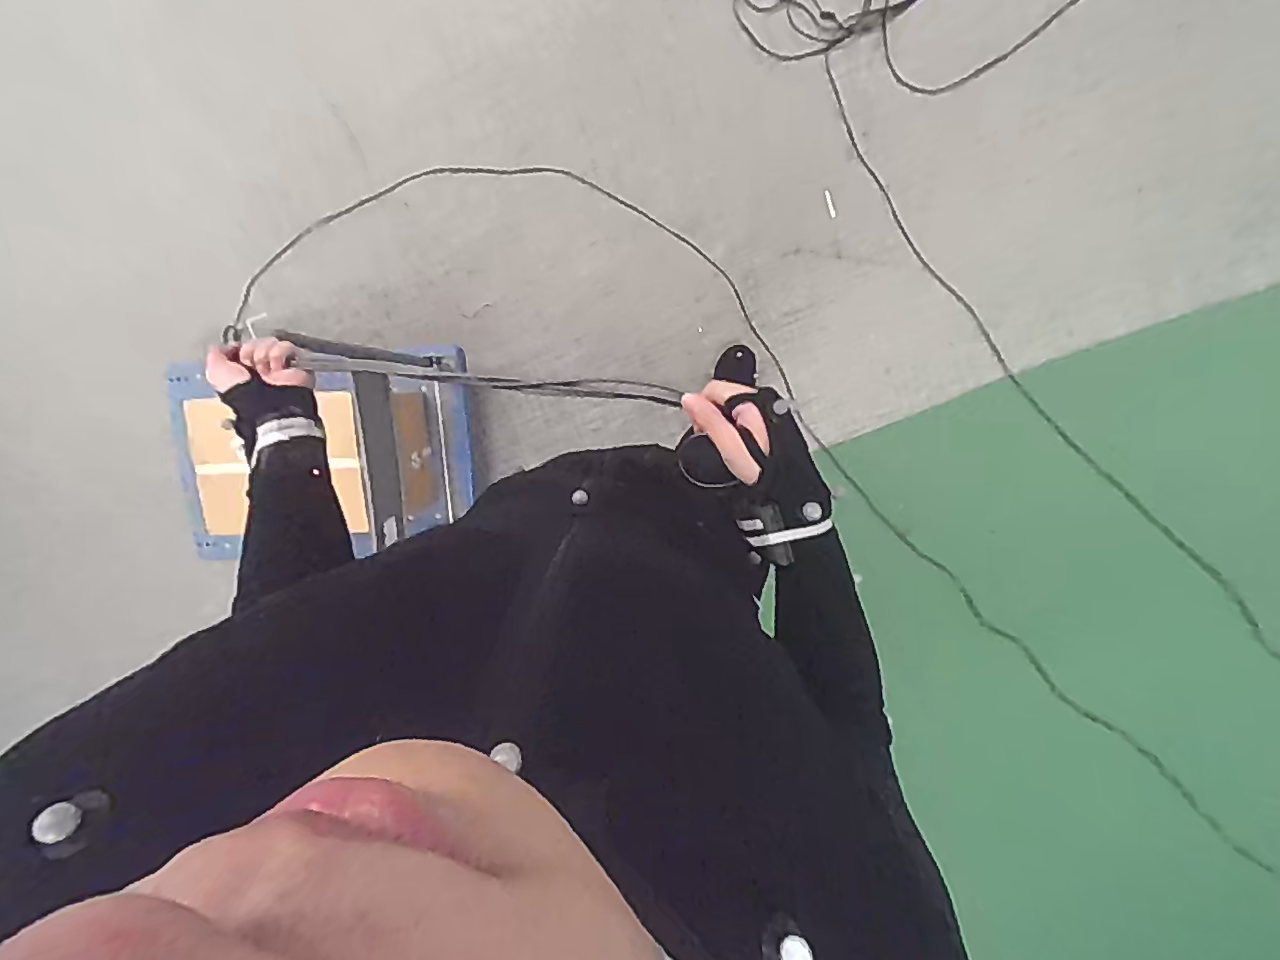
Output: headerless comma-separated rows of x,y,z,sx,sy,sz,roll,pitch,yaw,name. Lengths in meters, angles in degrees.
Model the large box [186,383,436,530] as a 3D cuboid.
-0.779,-0.070,1.336,0.408,0.320,0.320,-2,99,7,large box
